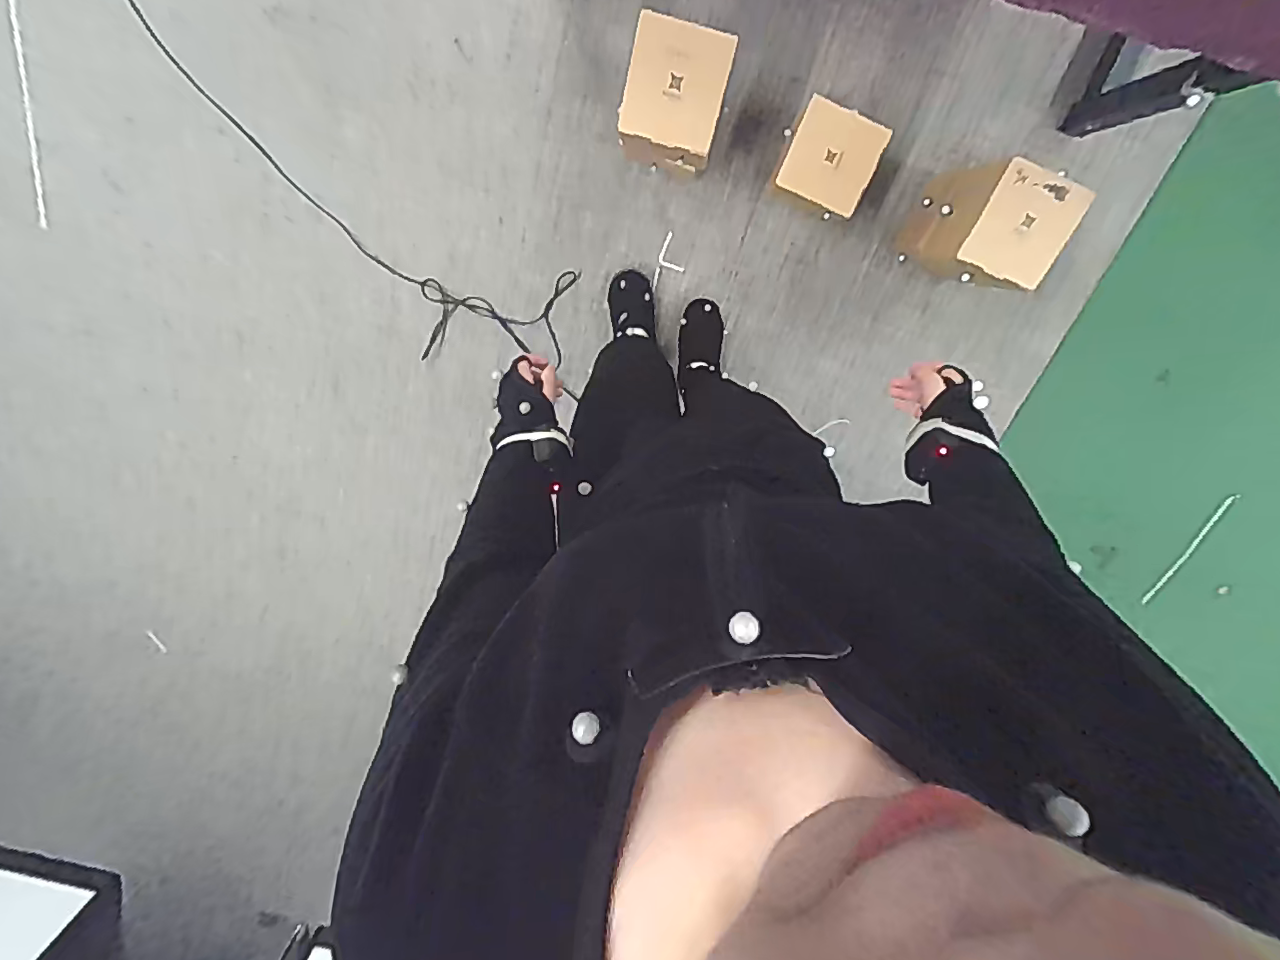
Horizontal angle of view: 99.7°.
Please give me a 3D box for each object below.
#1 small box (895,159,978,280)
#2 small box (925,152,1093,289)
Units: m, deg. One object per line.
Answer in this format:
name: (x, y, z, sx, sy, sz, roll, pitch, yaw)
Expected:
small box: (0.685, -0.554, 1.170, 0.168, 0.176, 0.179, 25, 112, -7)
small box: (0.676, -0.483, 1.022, 0.168, 0.176, 0.179, 22, 114, -5)
